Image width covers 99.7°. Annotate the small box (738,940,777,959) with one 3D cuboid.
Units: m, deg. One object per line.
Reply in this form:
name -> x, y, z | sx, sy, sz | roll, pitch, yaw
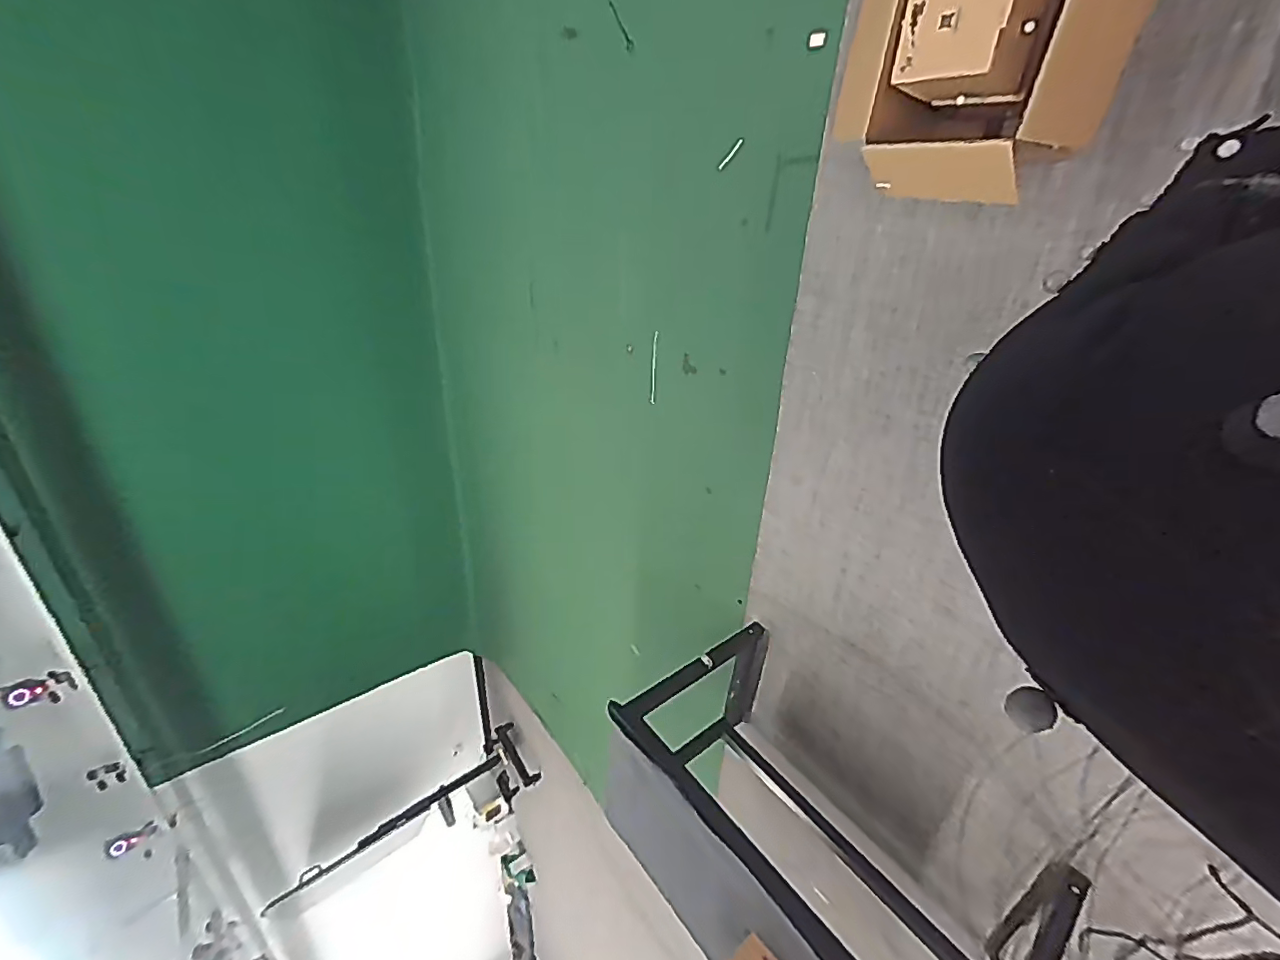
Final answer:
small box -> 0.303, 1.330, 1.360 | 0.168, 0.176, 0.179 | 22, 122, 48
